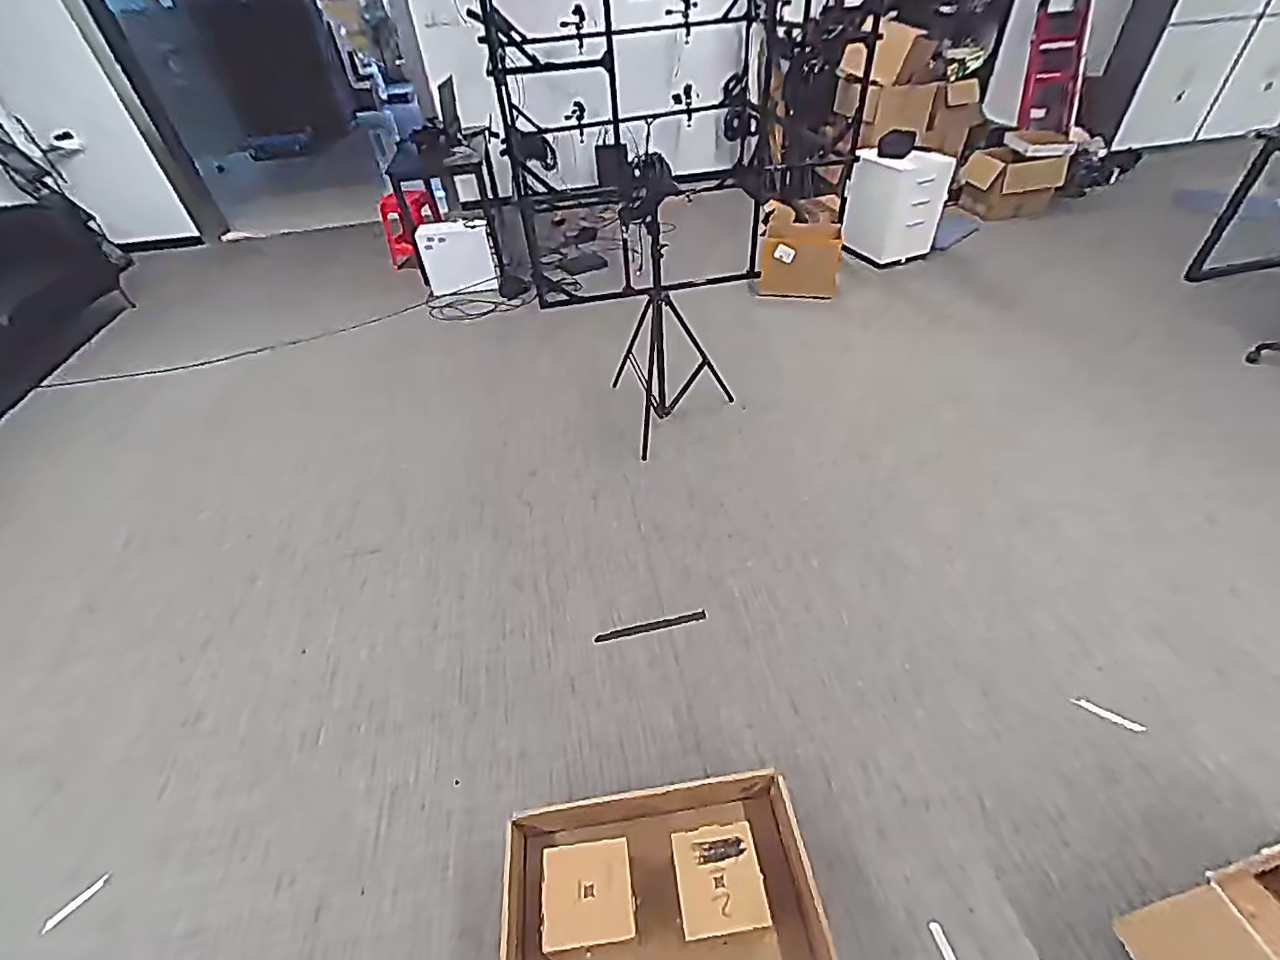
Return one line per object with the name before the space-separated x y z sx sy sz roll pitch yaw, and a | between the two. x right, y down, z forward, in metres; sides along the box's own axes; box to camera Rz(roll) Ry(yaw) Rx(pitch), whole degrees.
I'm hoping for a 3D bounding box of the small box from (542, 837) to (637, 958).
small box | -0.103 0.868 1.122 0.179 0.176 0.168 -6 45 -4
